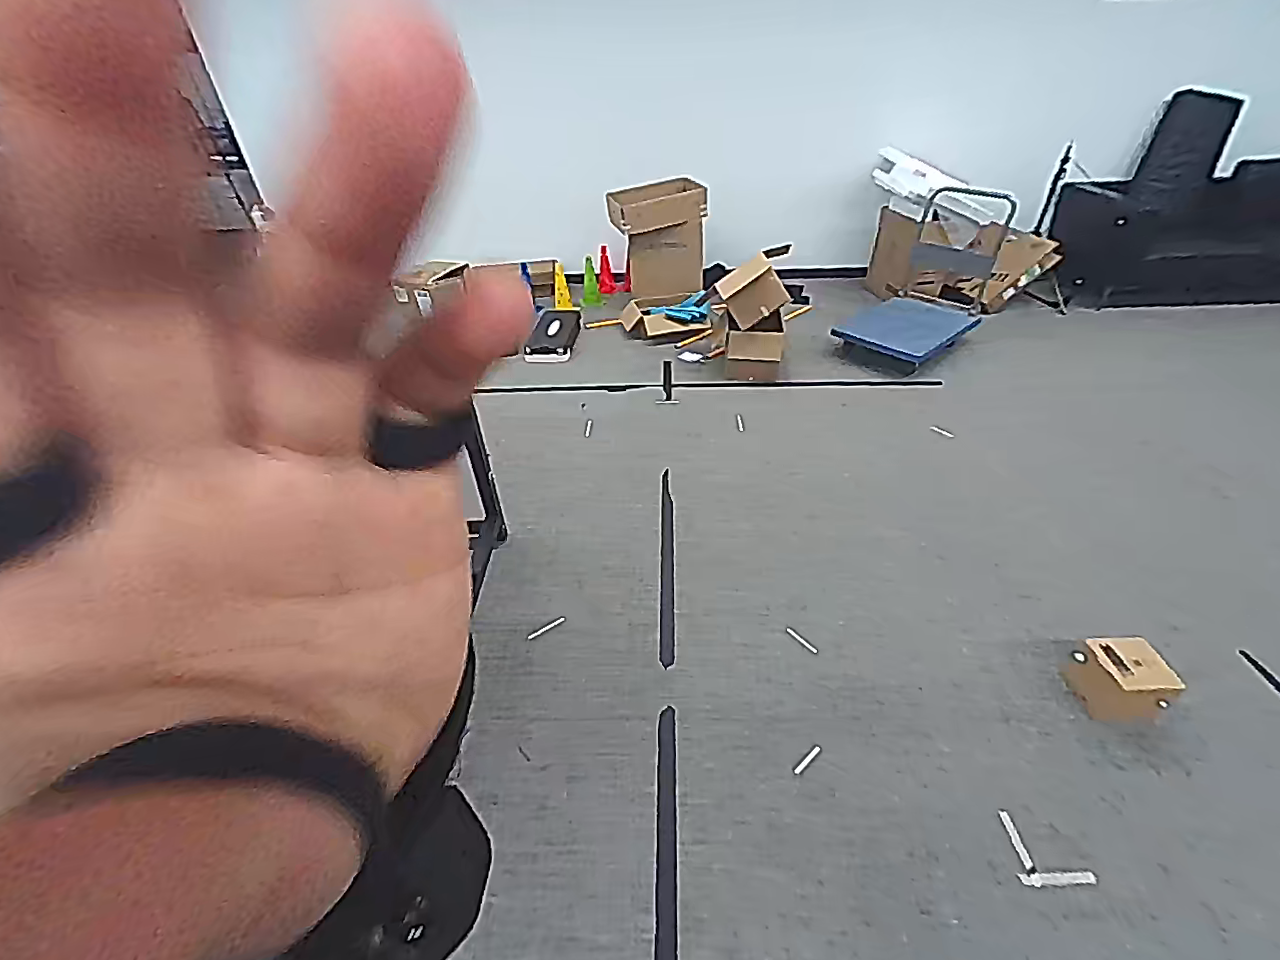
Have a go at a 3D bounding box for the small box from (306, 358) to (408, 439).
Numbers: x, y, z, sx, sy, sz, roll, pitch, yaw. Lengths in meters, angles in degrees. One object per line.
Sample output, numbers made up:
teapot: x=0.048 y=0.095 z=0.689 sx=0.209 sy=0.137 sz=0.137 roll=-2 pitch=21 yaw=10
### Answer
small box: x=-0.774 y=-0.224 z=1.507 sx=0.168 sy=0.176 sz=0.179 roll=0 pitch=37 yaw=5
